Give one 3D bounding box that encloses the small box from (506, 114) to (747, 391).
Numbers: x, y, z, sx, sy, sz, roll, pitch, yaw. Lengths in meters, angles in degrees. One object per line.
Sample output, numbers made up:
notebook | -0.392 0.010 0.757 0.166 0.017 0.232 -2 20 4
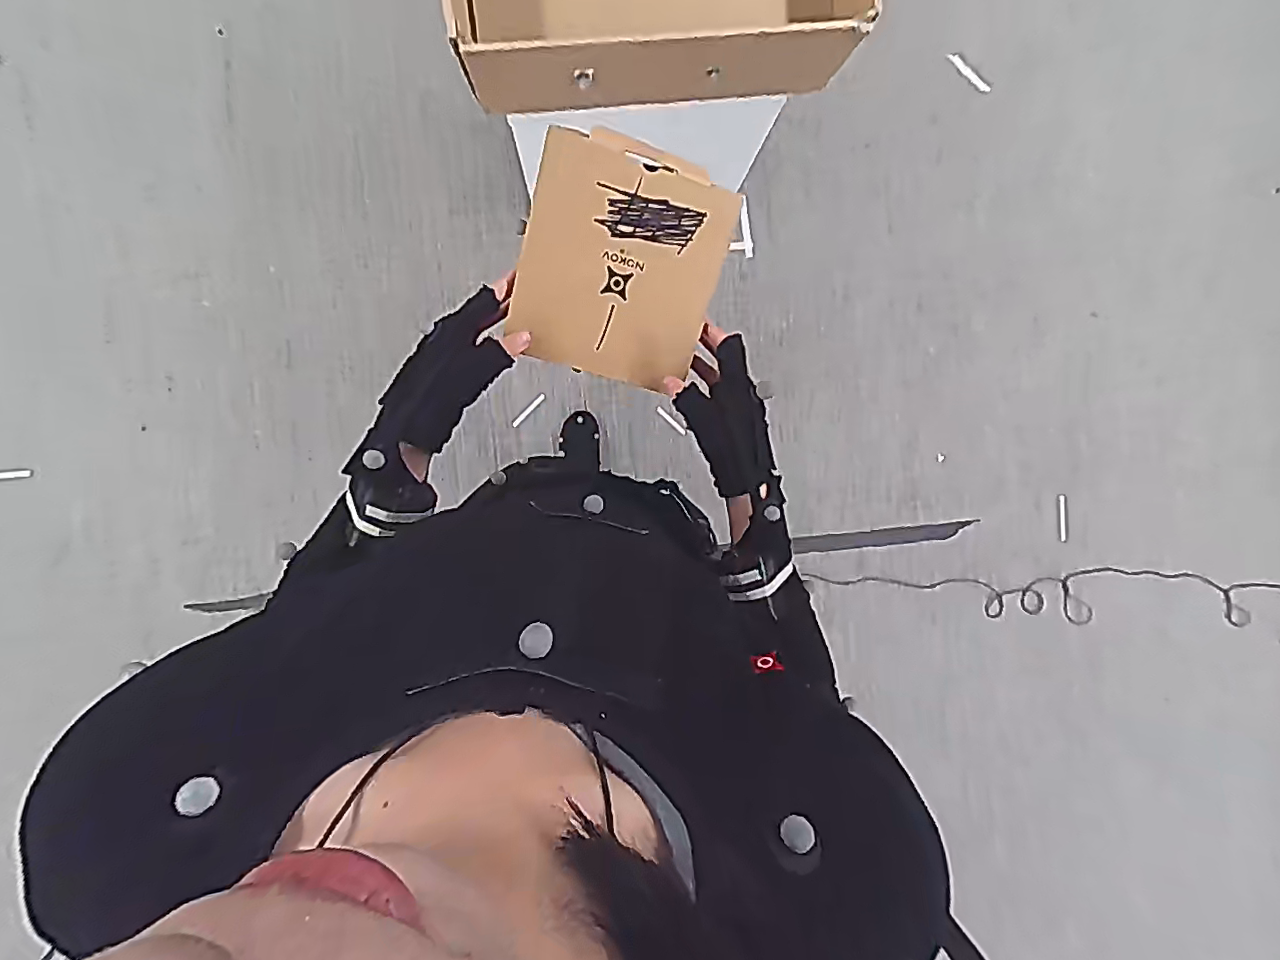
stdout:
small box | -0.025 -0.205 0.522 0.168 0.176 0.179 14 107 -13
